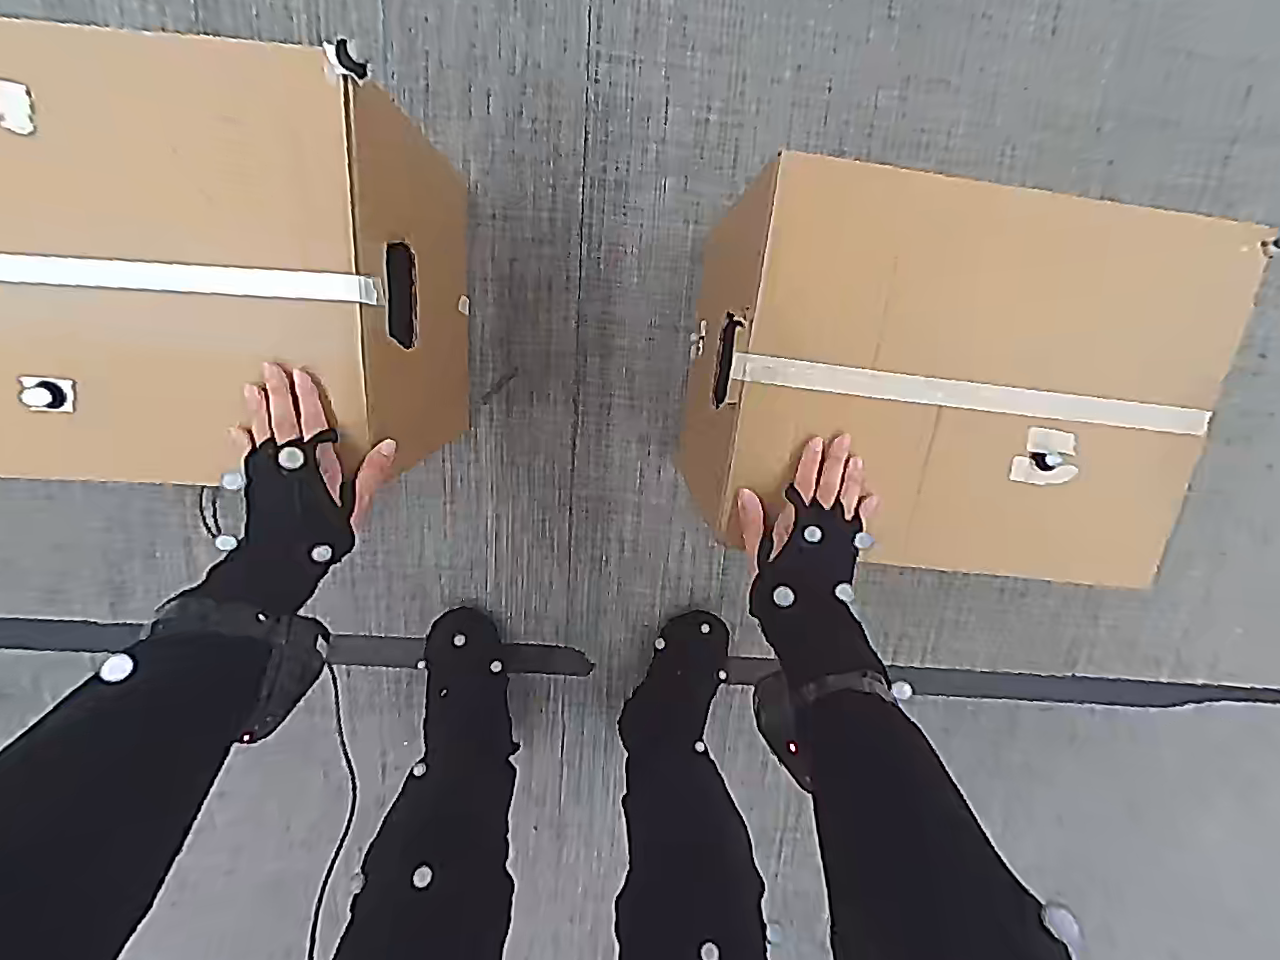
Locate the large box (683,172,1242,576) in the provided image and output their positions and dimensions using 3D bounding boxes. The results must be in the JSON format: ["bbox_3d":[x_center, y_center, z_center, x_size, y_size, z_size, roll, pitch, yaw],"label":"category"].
[{"bbox_3d":[0.278,-0.107,0.609,0.408,0.320,0.320,6,104,-5],"label":"large box"}]
